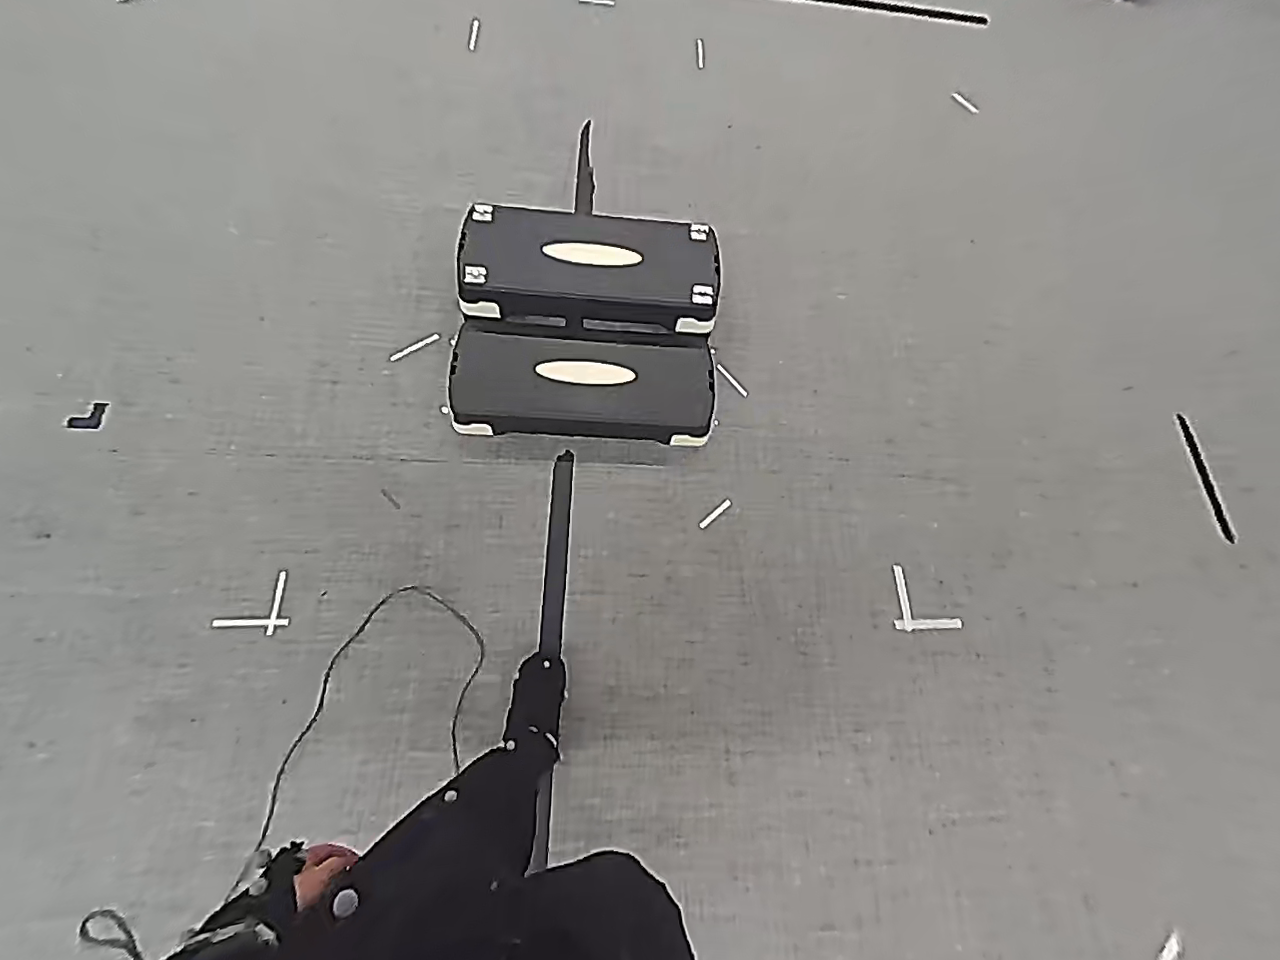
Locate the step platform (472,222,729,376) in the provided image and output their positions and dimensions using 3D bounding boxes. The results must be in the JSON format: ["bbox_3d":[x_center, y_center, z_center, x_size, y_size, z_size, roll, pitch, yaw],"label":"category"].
[{"bbox_3d":[-0.102,-0.490,1.479,0.684,0.204,0.286,7,68,-4],"label":"step platform"}]
